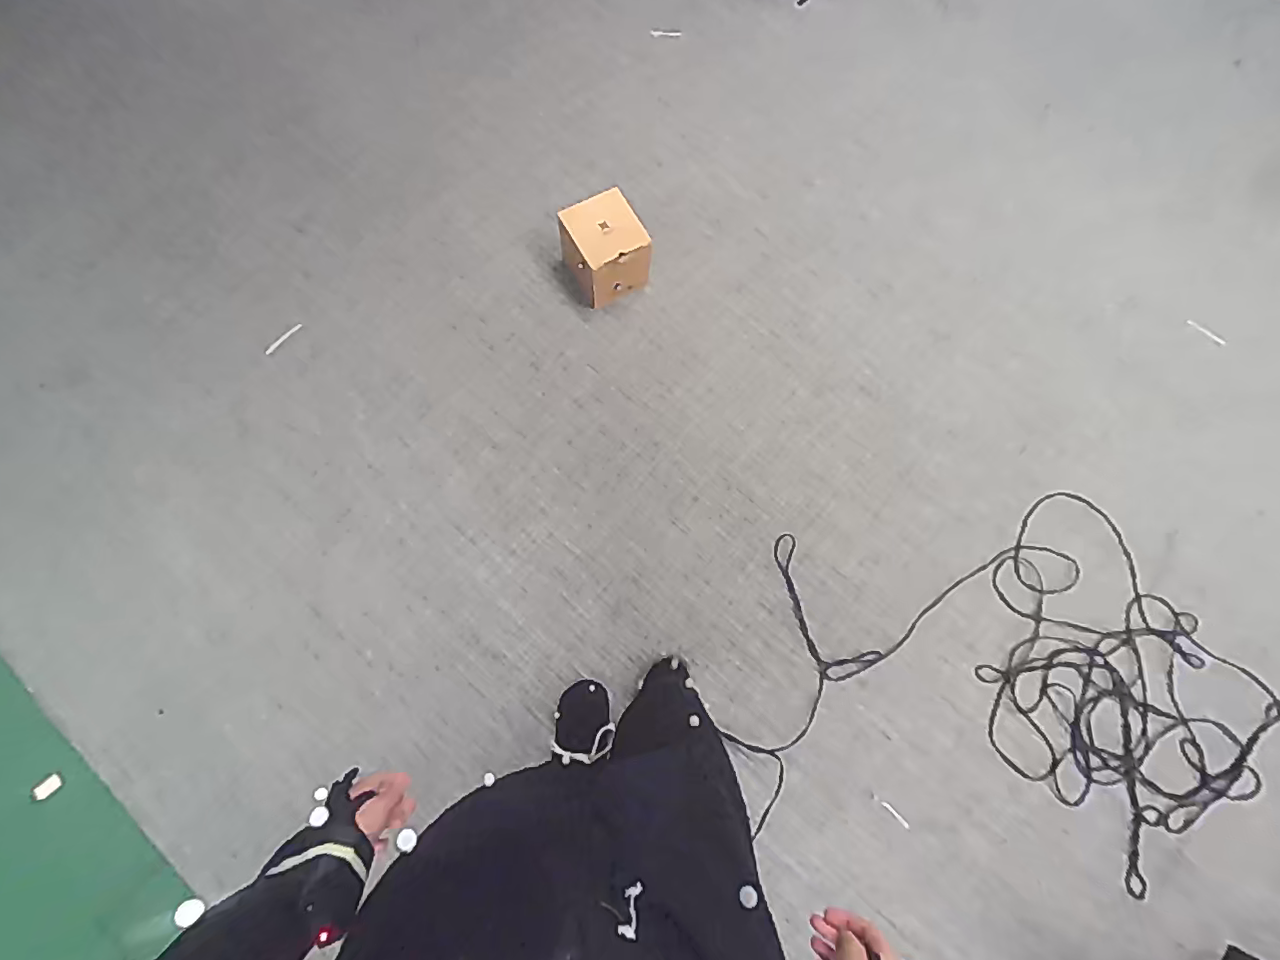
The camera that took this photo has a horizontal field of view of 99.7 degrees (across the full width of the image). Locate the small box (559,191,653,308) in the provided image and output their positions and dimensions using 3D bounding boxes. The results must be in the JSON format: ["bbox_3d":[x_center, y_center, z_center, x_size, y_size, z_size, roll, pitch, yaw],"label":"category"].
[{"bbox_3d":[-0.086,-0.567,1.345,0.168,0.176,0.179,-29,79,-10],"label":"small box"}]
